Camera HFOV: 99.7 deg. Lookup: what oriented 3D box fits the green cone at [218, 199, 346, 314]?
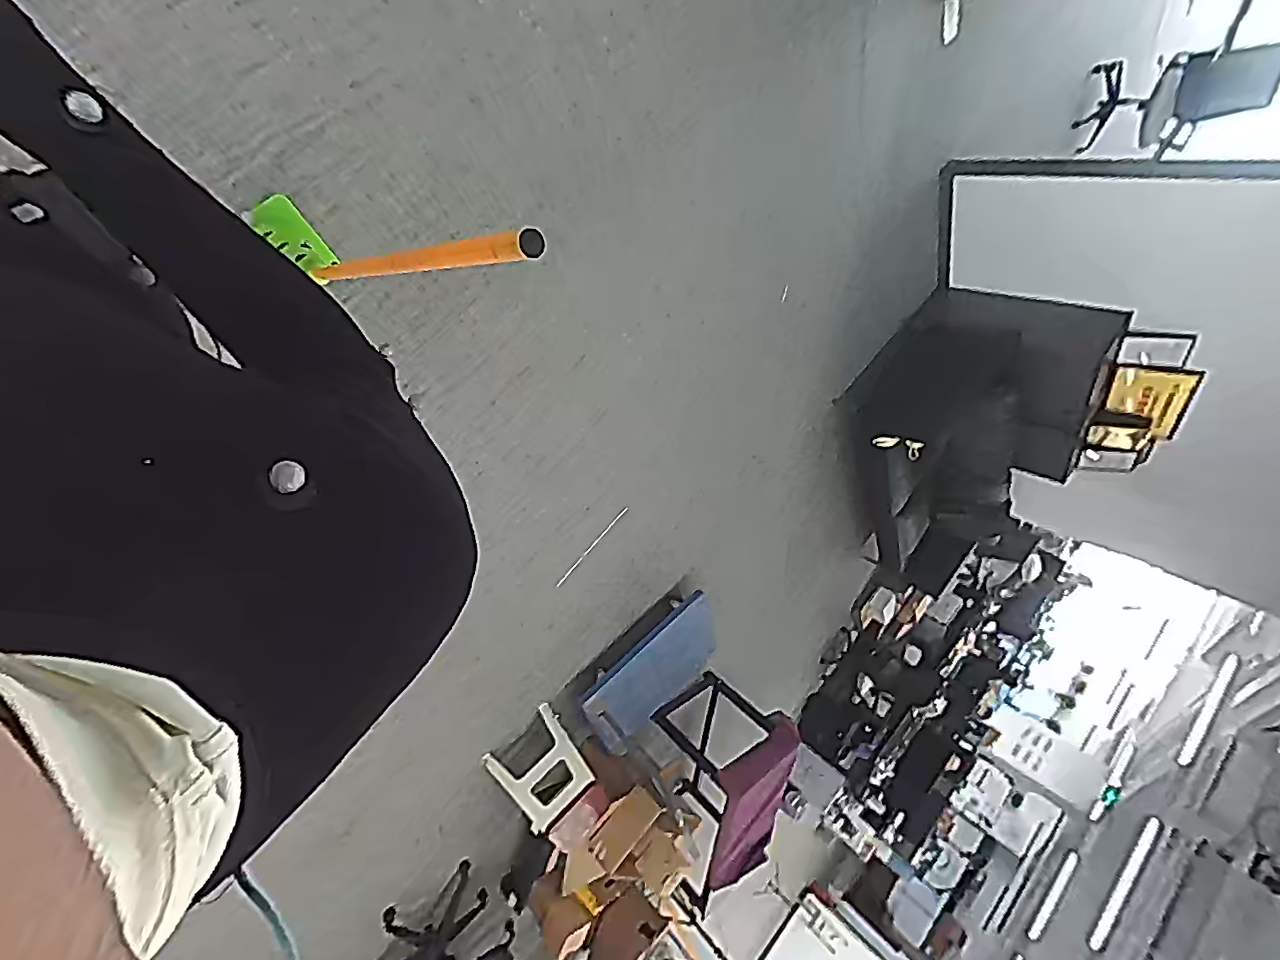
[{"bbox_3d":[-0.732,-0.462,1.172,0.202,0.368,0.200,-46,137,-14],"label":"green cone"}]
